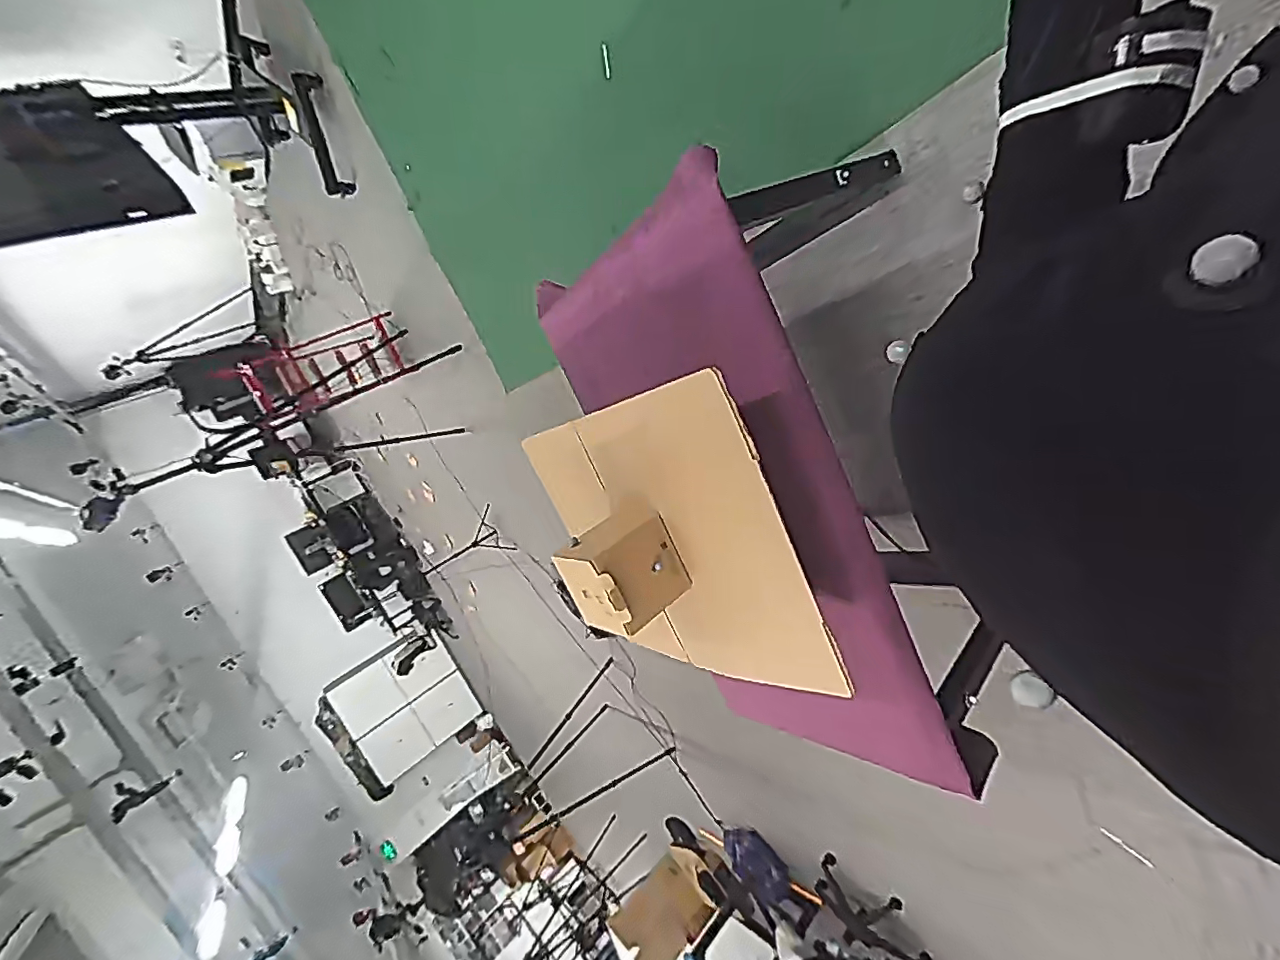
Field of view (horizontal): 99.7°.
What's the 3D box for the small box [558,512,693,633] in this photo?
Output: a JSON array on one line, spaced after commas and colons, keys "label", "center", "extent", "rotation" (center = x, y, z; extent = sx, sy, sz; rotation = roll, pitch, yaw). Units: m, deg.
[{"label": "small box", "center": [-0.027, 0.174, 1.073], "extent": [0.179, 0.176, 0.168], "rotation": [-7, 112, 55]}]
